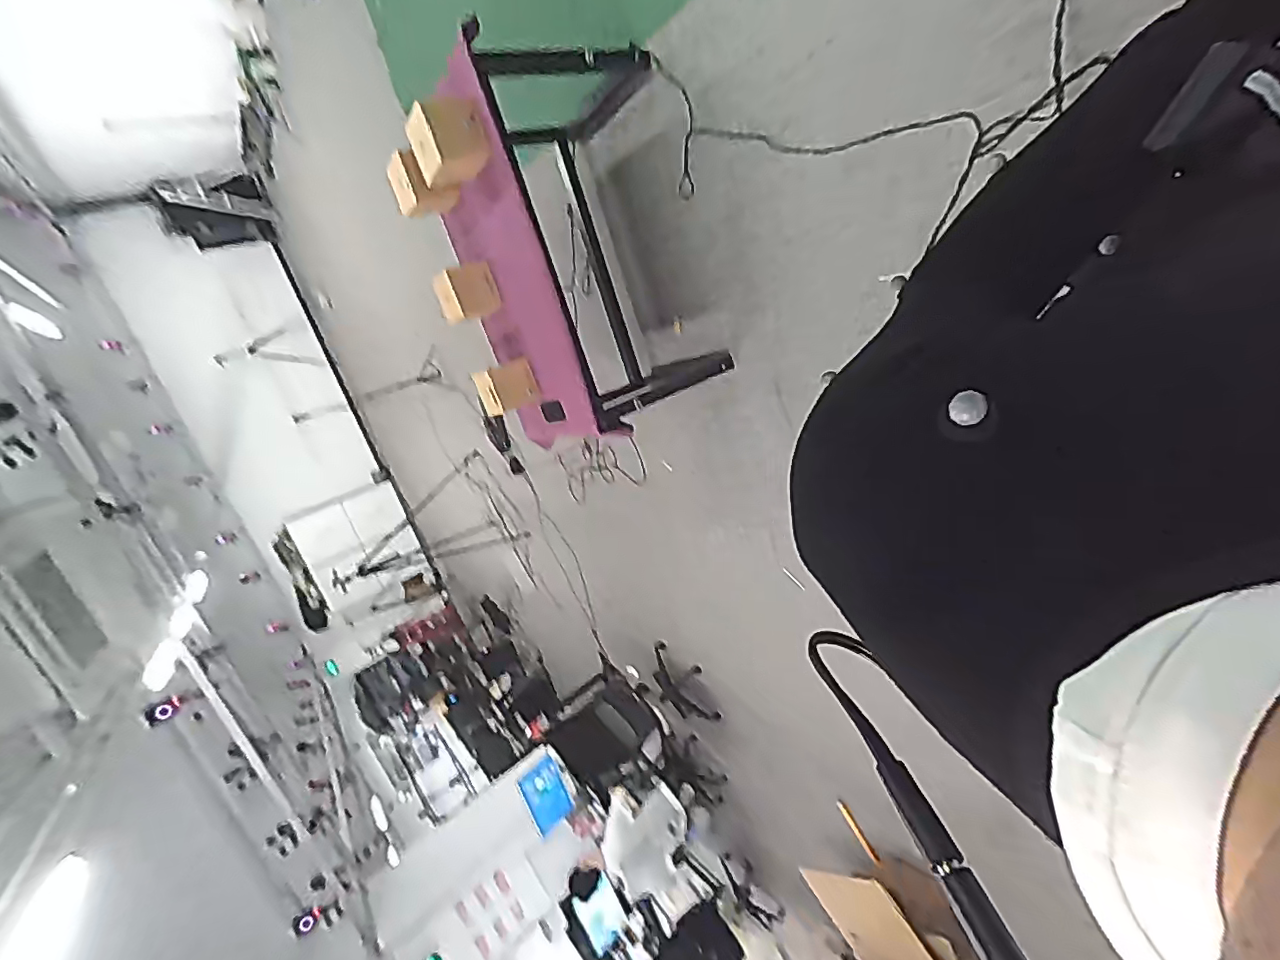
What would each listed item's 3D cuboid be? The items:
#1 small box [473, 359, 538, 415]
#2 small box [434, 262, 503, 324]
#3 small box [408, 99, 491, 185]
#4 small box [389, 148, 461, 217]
[{"bbox_3d":[-0.511,-0.358,2.083,0.179,0.176,0.168,4,116,56],"label":"small box"},{"bbox_3d":[-0.637,-0.695,2.012,0.179,0.176,0.168,3,117,55],"label":"small box"},{"bbox_3d":[-0.579,-1.032,1.653,0.179,0.176,0.168,3,117,55],"label":"small box"},{"bbox_3d":[-0.755,-1.050,1.908,0.179,0.176,0.168,7,120,55],"label":"small box"}]
